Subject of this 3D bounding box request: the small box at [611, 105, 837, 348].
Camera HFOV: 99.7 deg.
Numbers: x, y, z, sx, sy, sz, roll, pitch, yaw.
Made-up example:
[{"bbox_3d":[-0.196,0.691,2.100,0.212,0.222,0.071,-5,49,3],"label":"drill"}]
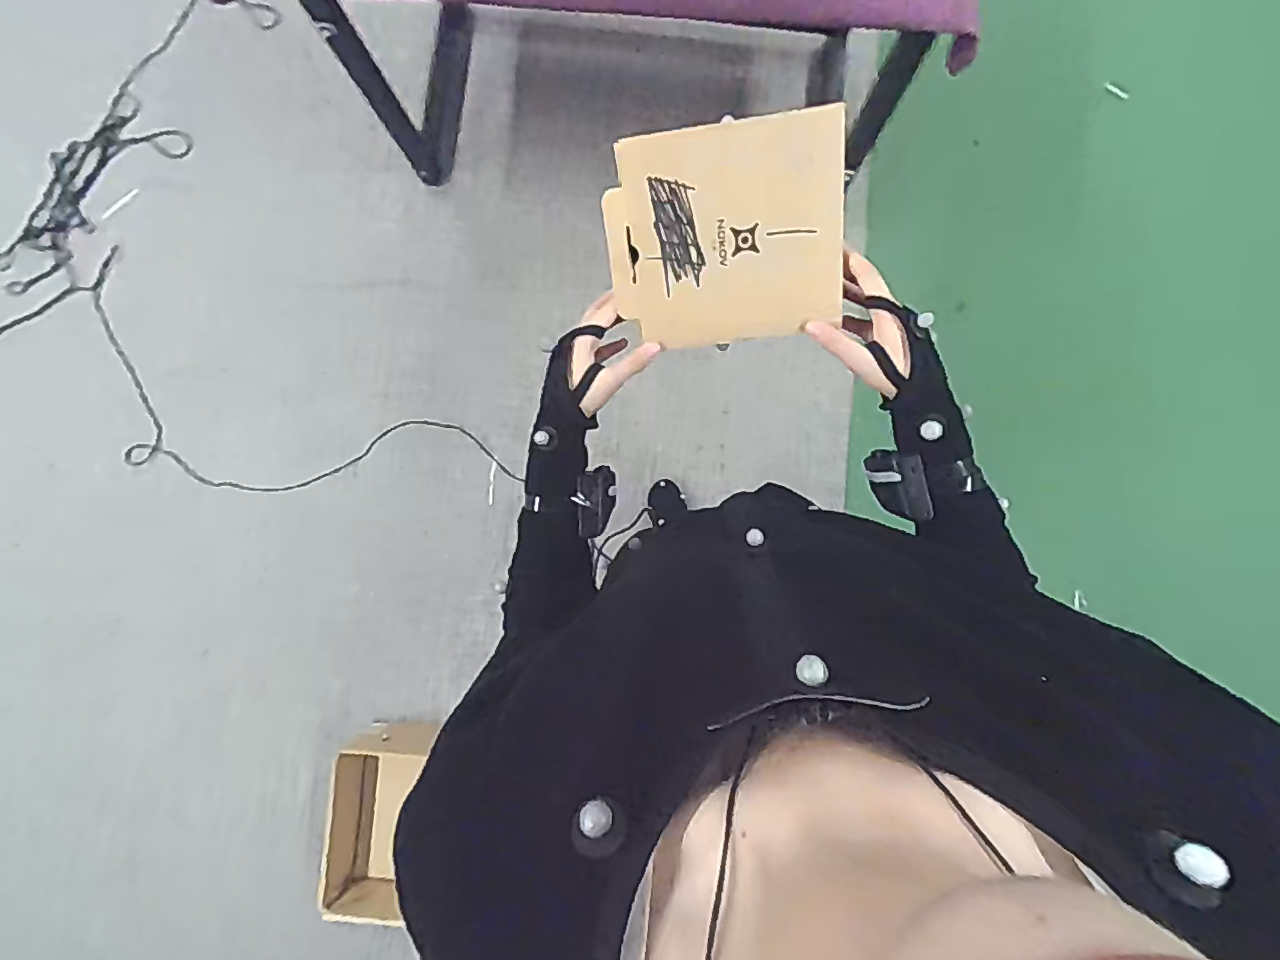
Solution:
[{"bbox_3d":[0.079,-0.231,0.519,0.179,0.176,0.168,-6,113,7],"label":"small box"}]
